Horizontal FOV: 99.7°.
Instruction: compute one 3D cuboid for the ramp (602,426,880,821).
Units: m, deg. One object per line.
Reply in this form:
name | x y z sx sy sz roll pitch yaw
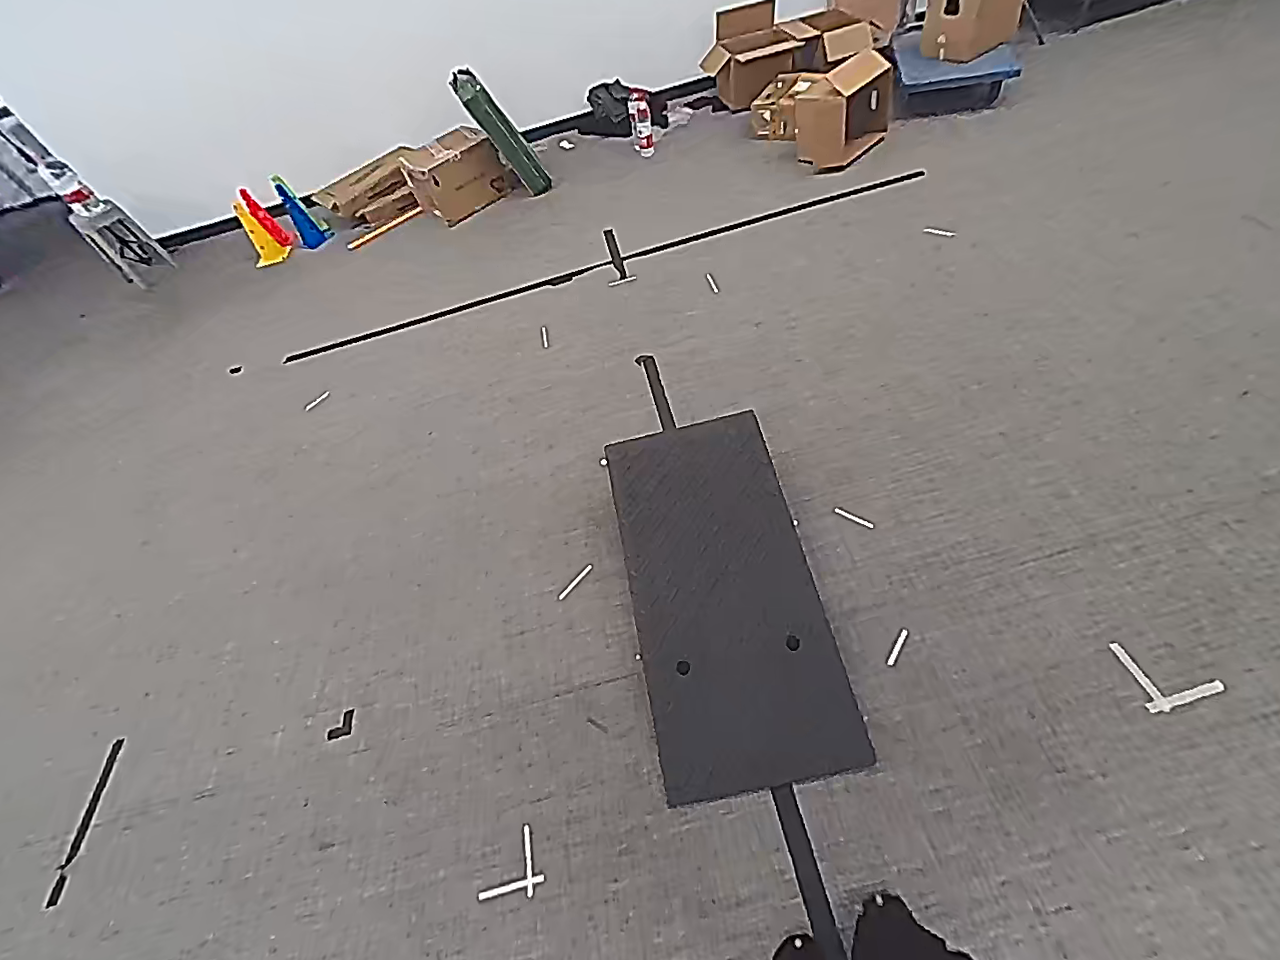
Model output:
ramp | 0.218 0.308 1.487 0.509 0.206 0.991 -16 50 0
